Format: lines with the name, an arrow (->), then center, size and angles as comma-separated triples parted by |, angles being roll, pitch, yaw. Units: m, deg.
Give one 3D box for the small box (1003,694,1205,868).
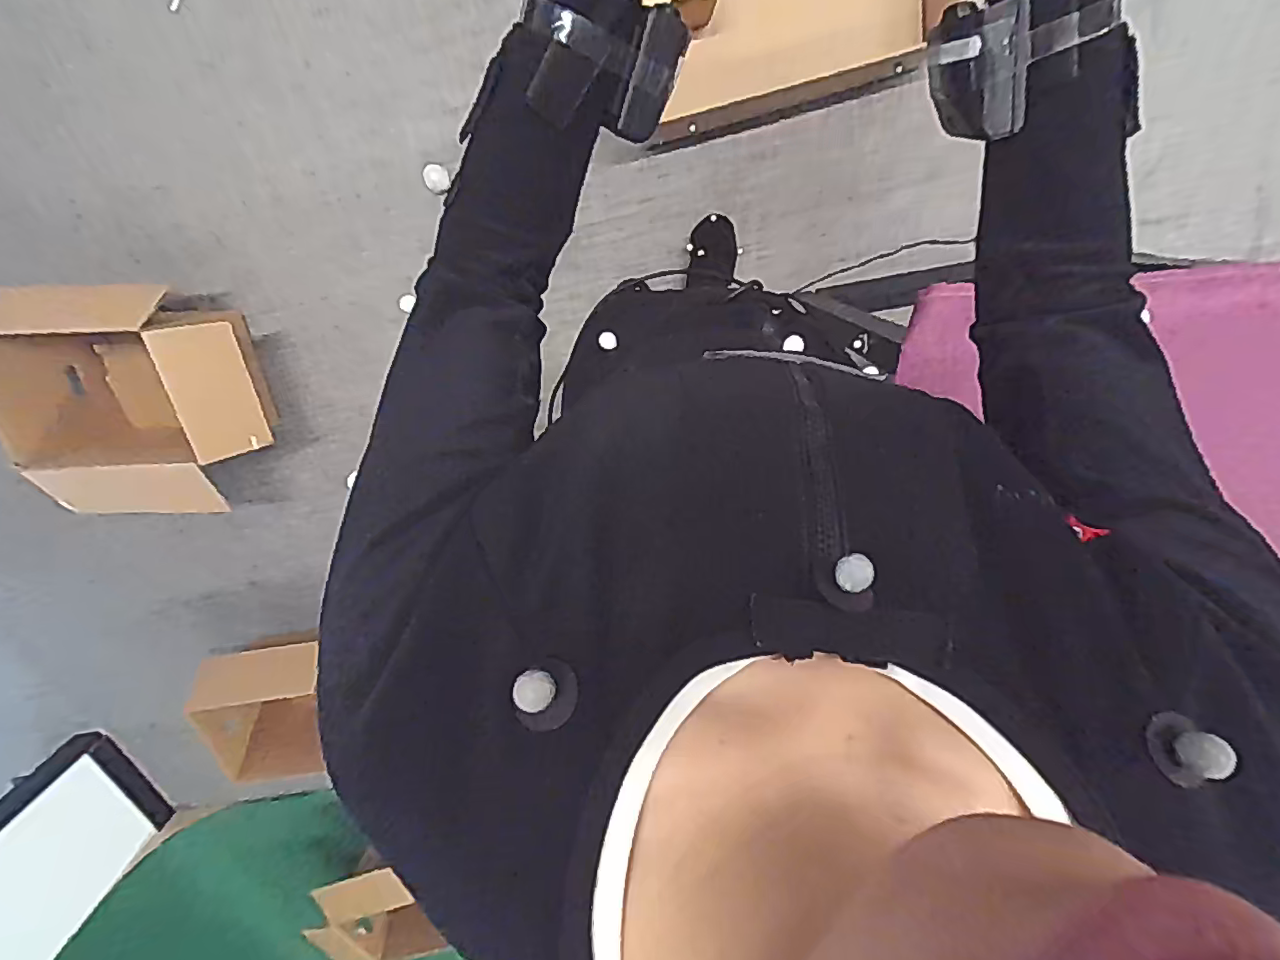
small box -> 0.709, 0.468, 0.853 | 0.179, 0.176, 0.168 | -11, 113, 5
